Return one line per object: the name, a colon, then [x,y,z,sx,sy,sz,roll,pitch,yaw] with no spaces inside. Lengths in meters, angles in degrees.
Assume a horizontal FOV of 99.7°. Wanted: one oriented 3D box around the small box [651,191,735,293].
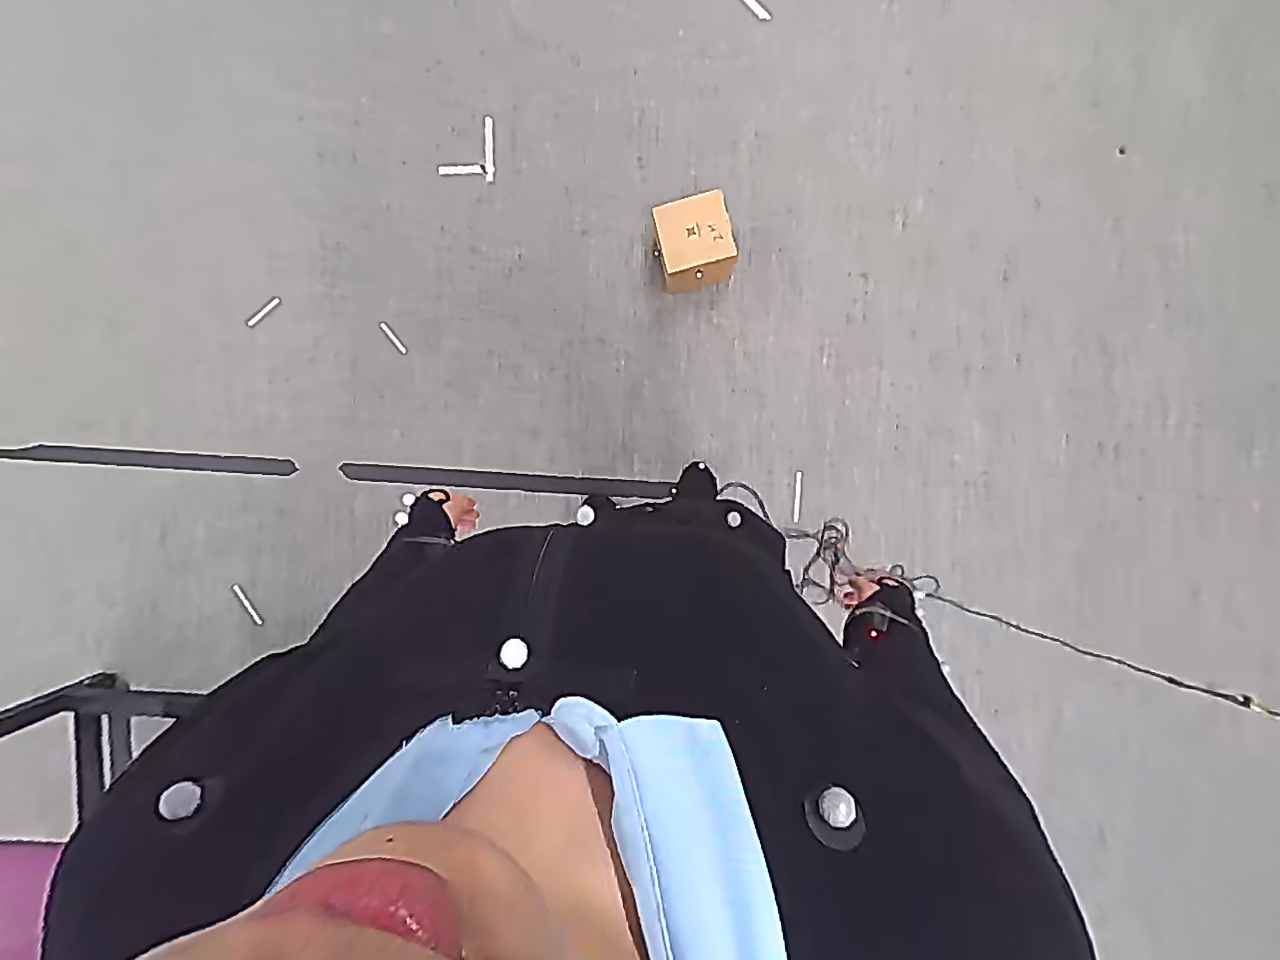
small box: [0.135,-0.598,1.381,0.179,0.176,0.168,-14,91,4]
